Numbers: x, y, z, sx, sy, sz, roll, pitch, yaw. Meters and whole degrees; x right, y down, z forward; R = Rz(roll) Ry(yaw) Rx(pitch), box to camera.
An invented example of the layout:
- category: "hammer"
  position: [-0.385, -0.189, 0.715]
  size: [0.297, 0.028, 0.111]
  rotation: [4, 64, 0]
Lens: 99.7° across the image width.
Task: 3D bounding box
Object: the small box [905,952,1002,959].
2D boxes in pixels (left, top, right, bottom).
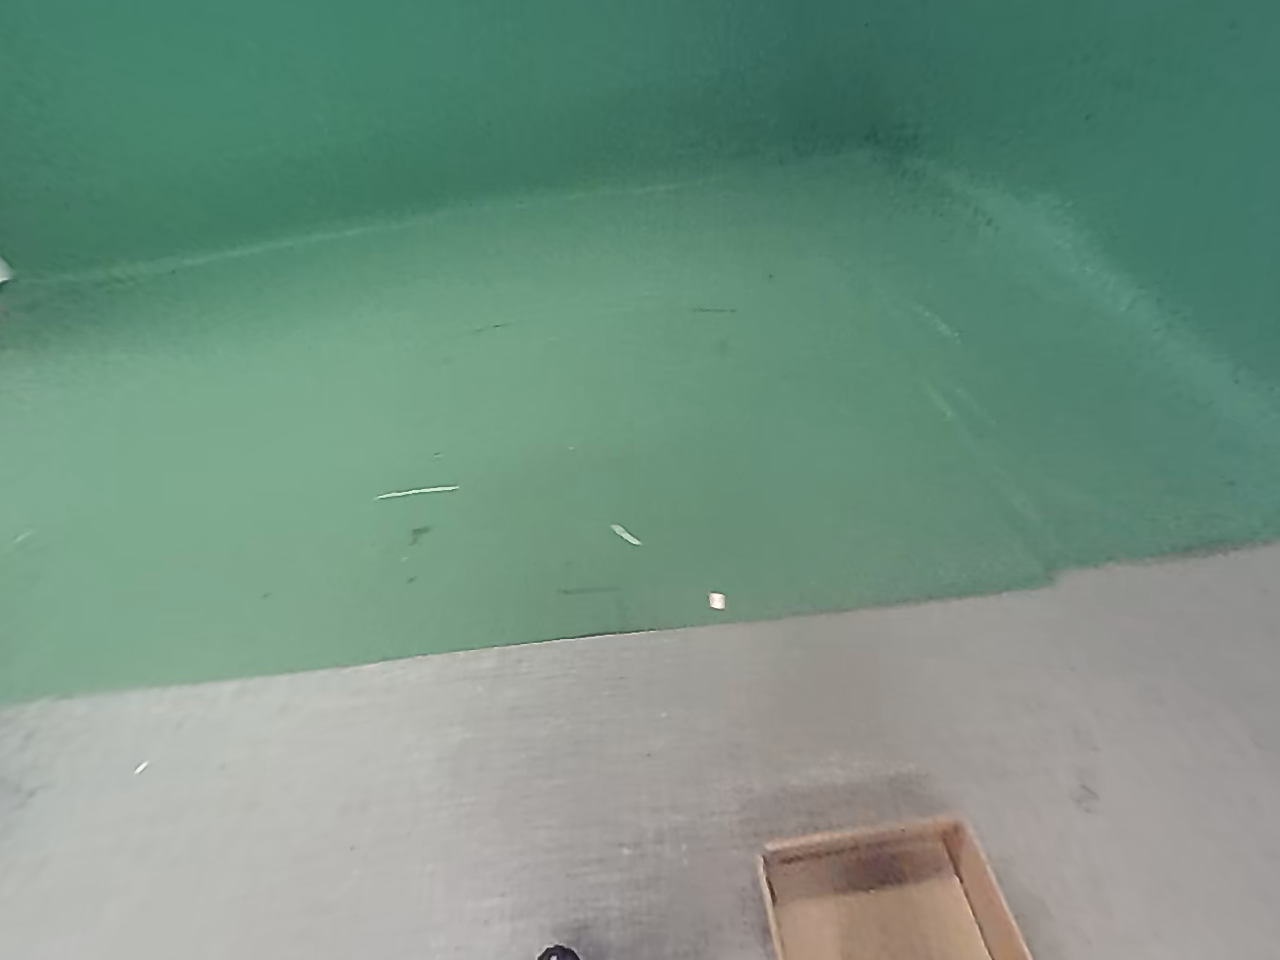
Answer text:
- category: "small box"
  position: [0.428, 0.771, 0.743]
  size: [0.179, 0.176, 0.168]
  rotation: [-12, 49, 1]
